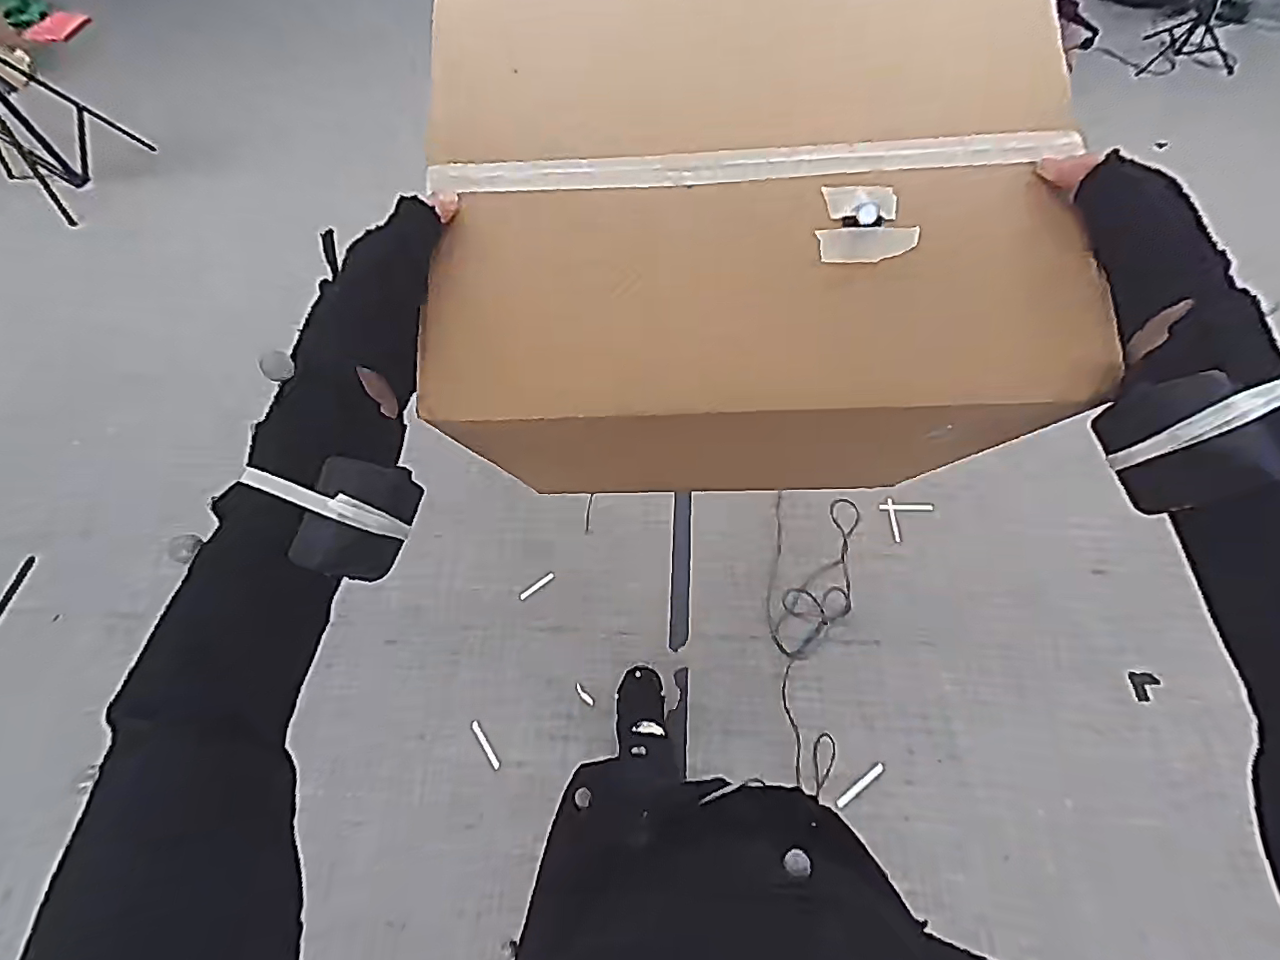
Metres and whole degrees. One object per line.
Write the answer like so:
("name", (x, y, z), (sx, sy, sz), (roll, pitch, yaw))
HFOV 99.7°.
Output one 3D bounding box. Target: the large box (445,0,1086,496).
("large box", (0.073, -0.163, 0.504), (0.408, 0.320, 0.320), (-2, 82, 2))
